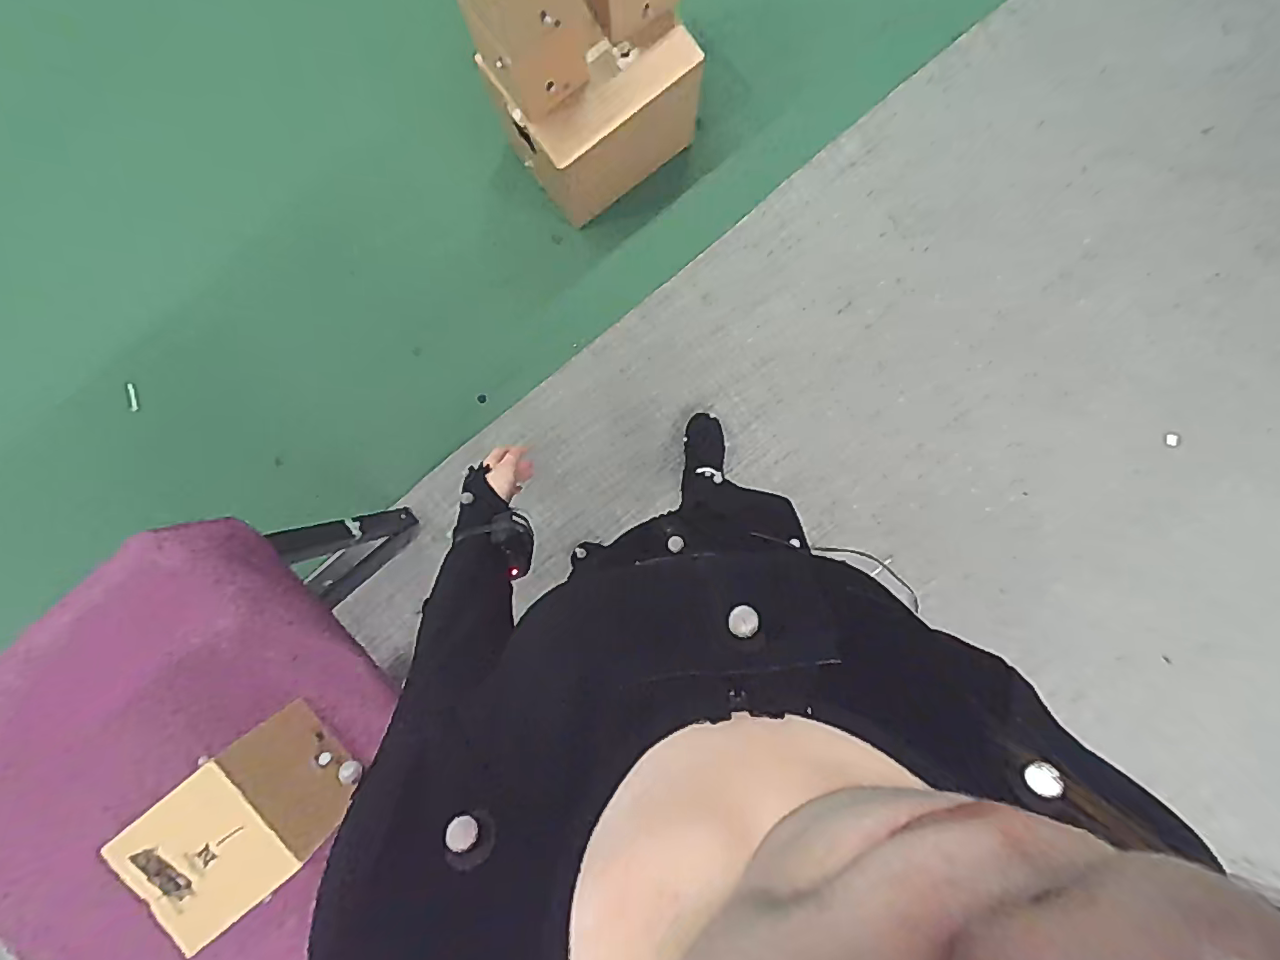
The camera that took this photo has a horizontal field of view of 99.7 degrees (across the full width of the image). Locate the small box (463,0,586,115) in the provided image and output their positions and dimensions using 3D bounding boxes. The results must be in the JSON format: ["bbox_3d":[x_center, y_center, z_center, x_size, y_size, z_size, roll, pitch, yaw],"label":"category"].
[{"bbox_3d":[-0.226,-0.887,1.074,0.168,0.176,0.179,-37,91,0],"label":"small box"}]

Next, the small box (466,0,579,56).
[{"bbox_3d":[-0.222,-0.883,0.910,0.168,0.176,0.179,-39,91,1],"label":"small box"}]

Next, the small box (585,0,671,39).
[{"bbox_3d":[-0.032,-1.043,1.067,0.179,0.176,0.168,-33,91,1],"label":"small box"}]

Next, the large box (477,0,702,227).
[{"bbox_3d":[-0.110,-0.917,1.316,0.408,0.320,0.320,-38,92,0],"label":"large box"}]

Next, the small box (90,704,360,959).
[{"bbox_3d":[-0.508,0.431,0.692,0.179,0.176,0.168,-39,92,1],"label":"small box"}]
